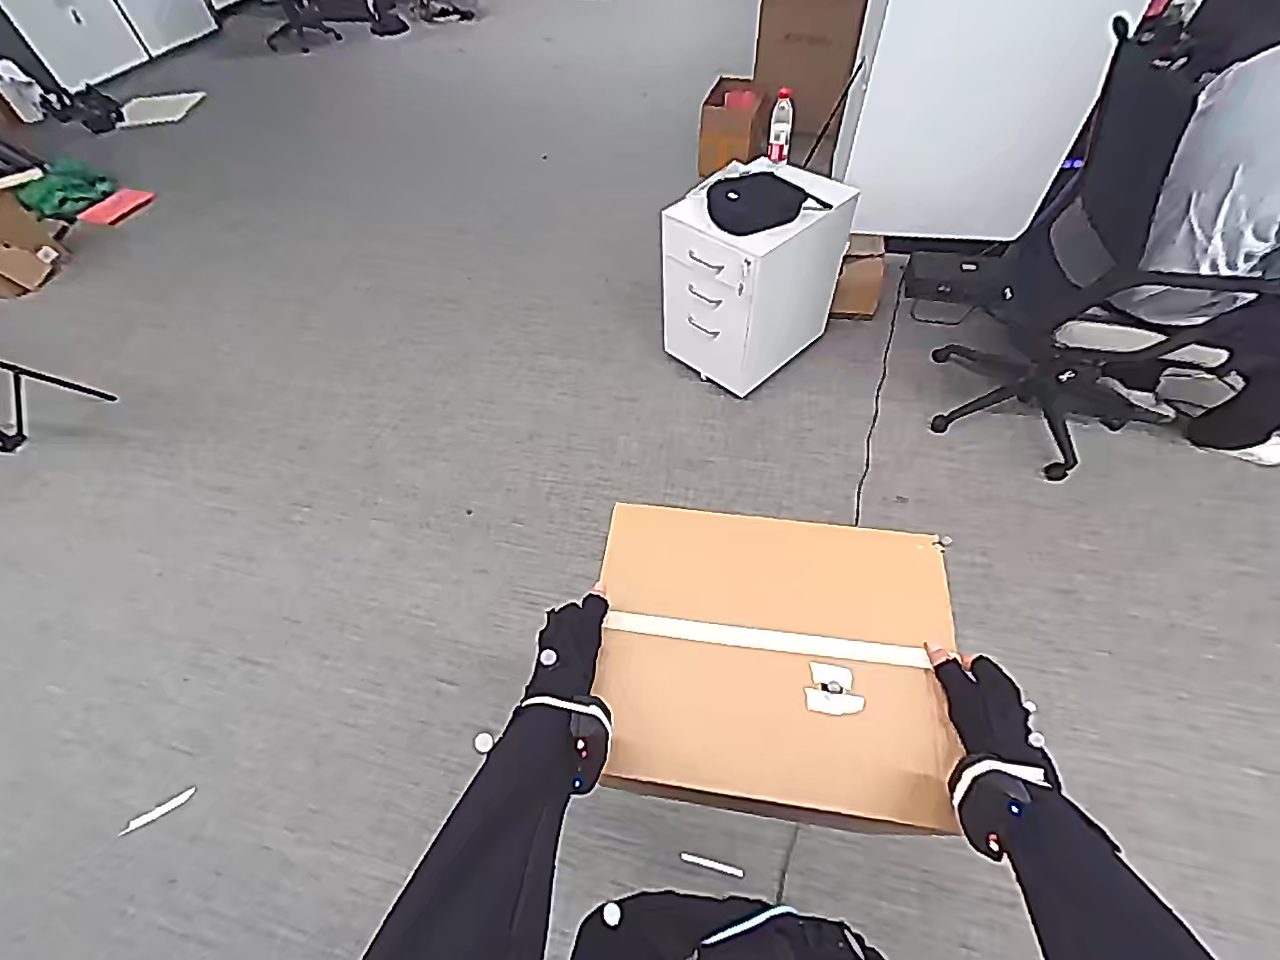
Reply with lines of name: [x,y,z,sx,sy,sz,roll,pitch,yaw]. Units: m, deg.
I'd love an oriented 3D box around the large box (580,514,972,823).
large box: [0.153,0.269,0.750,0.408,0.320,0.320,6,59,6]
